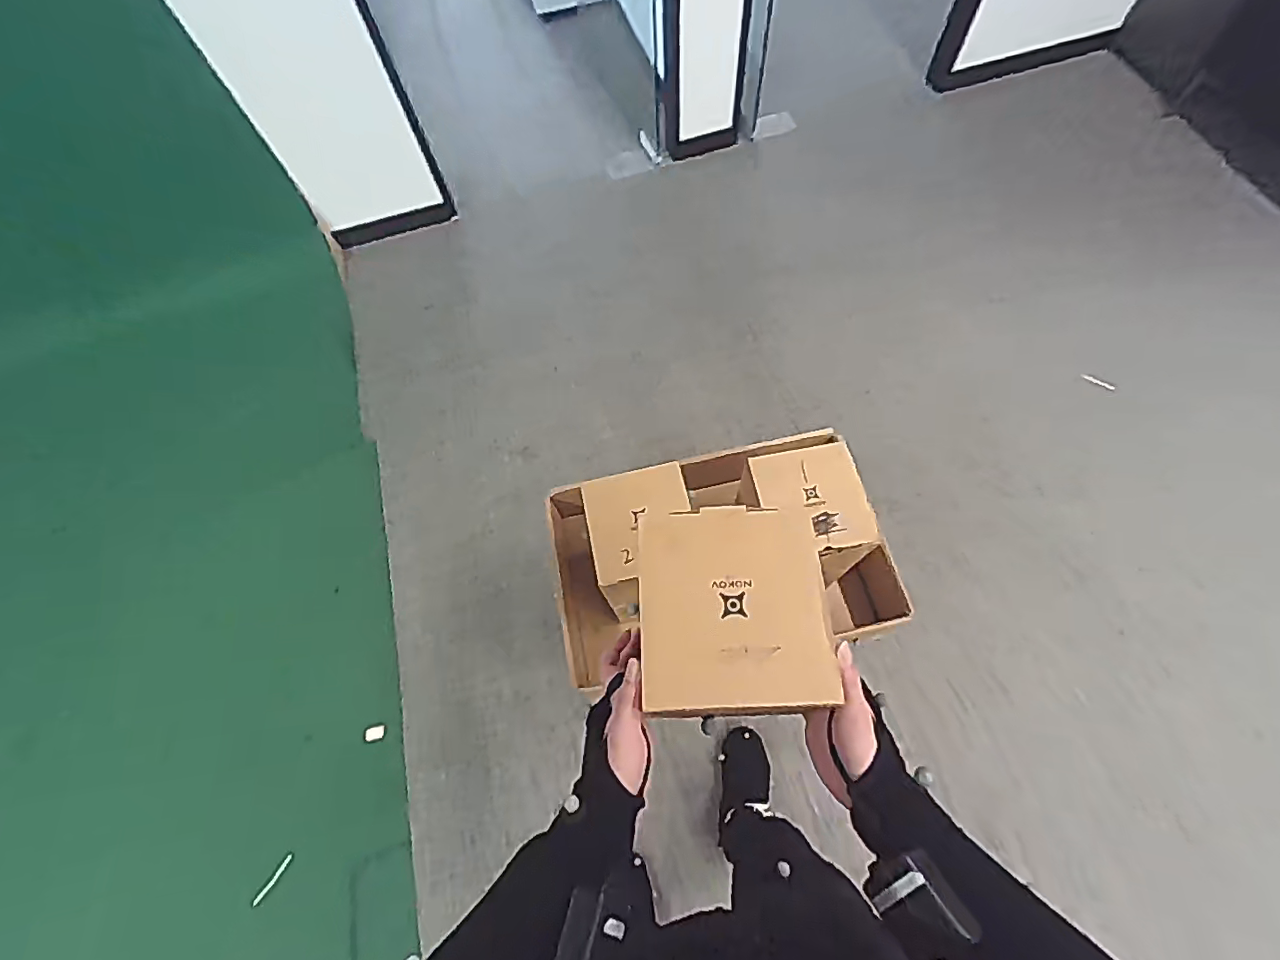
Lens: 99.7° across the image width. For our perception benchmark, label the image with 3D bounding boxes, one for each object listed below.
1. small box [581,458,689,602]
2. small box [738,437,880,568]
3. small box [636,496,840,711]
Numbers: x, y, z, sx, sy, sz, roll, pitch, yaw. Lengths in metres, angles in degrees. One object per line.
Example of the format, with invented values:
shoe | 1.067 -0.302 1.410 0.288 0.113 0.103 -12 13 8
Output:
small box | 0.004 0.089 0.904 0.168 0.176 0.179 -12 66 -1
small box | 0.269 0.053 0.903 0.168 0.176 0.179 -10 66 -1
small box | 0.079 0.129 0.539 0.168 0.176 0.179 -2 64 1
